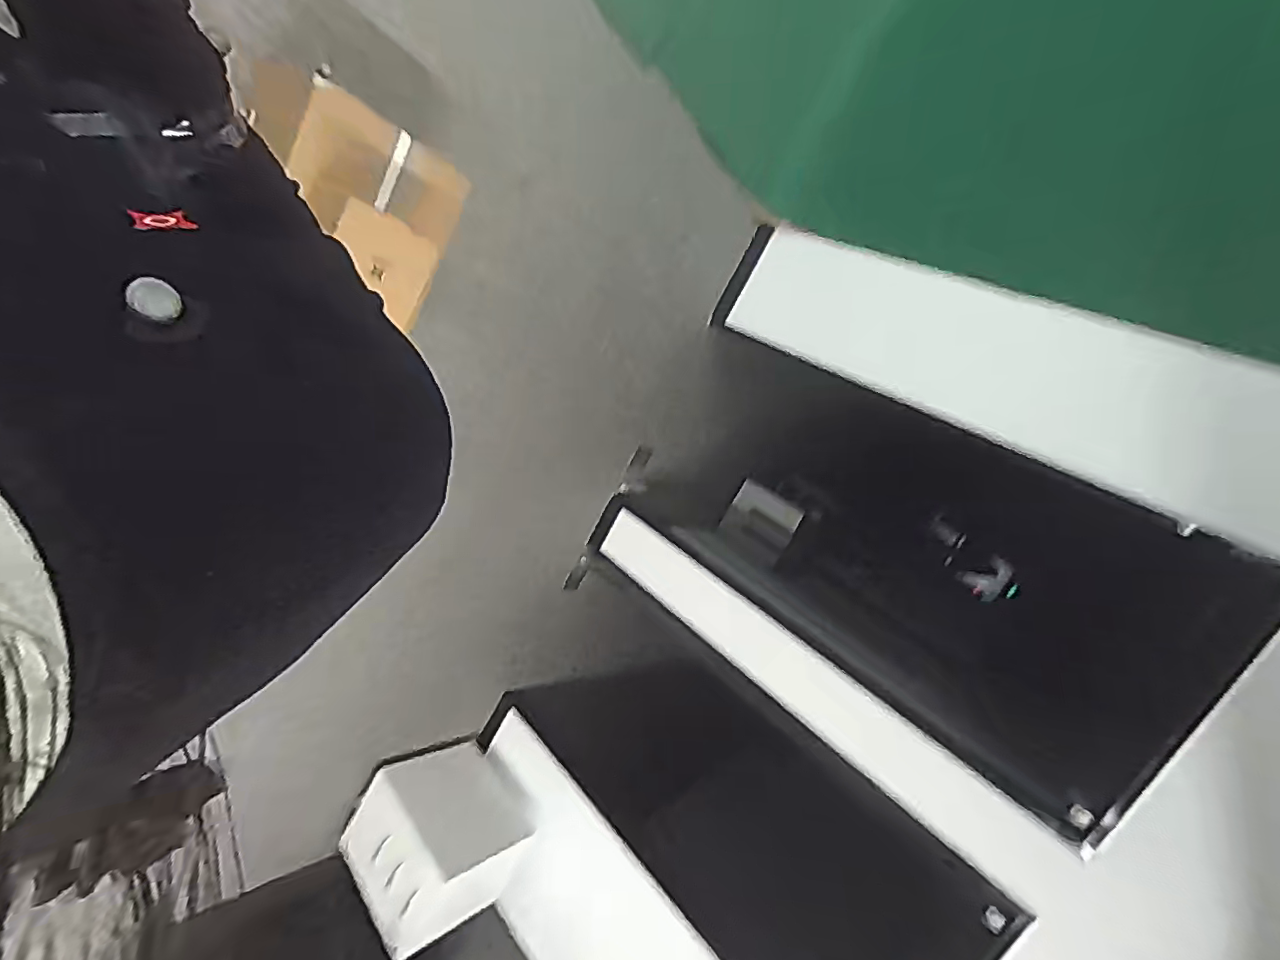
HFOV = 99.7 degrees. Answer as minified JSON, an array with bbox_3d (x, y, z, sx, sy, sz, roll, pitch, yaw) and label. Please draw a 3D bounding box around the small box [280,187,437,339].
[{"bbox_3d":[-0.503,-0.384,0.958,0.168,0.176,0.179,17,106,-55],"label":"small box"}]
